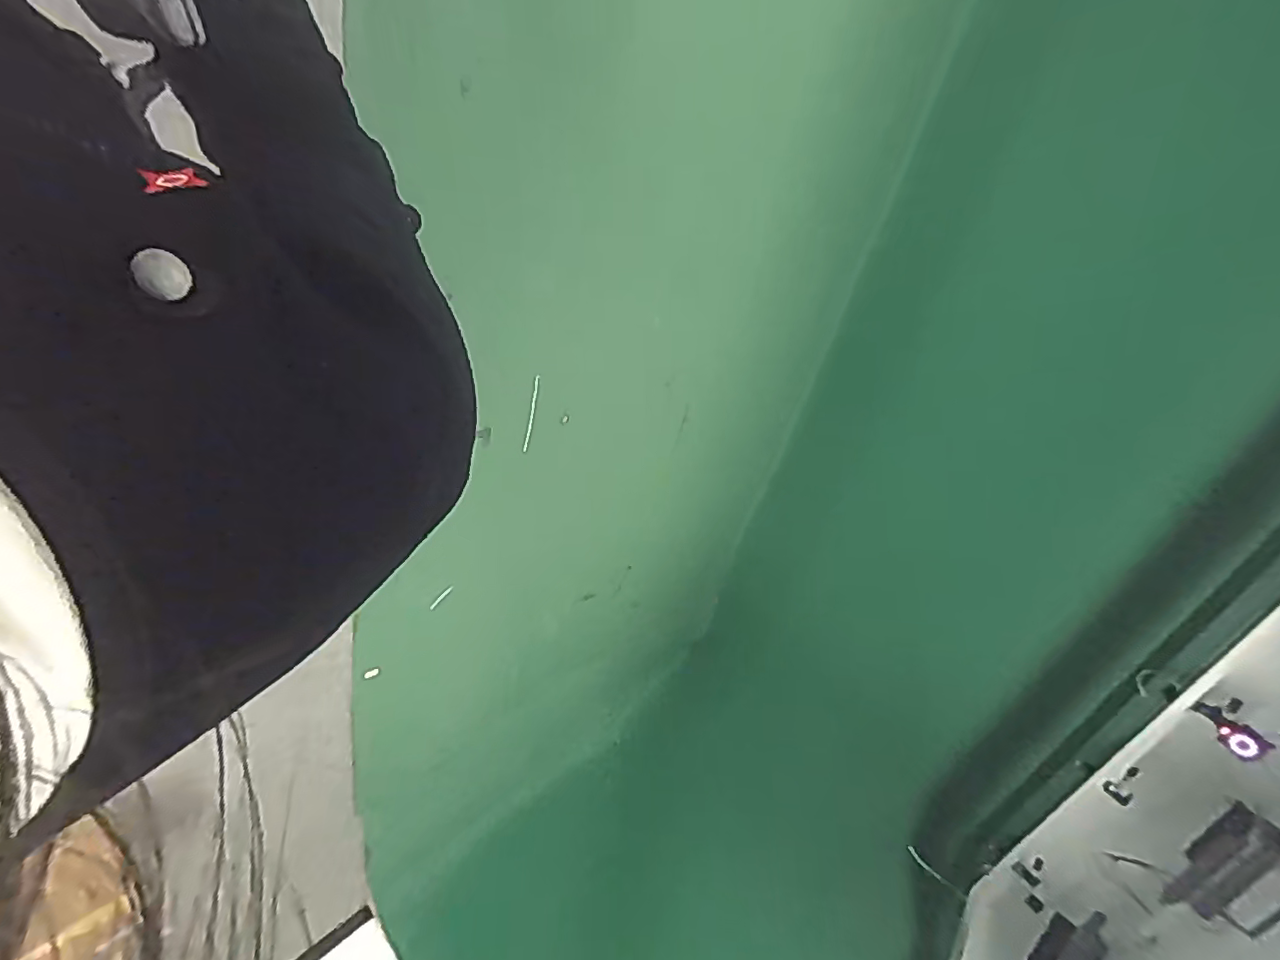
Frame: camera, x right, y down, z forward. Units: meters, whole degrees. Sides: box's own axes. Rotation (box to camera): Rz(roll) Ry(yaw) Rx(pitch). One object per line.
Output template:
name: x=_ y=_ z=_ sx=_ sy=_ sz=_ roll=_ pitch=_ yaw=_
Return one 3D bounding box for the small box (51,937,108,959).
small box: x=-1.393 y=1.261 z=1.292 sx=0.179 sy=0.176 sz=0.168 roll=-23 pitch=134 yaw=-42
